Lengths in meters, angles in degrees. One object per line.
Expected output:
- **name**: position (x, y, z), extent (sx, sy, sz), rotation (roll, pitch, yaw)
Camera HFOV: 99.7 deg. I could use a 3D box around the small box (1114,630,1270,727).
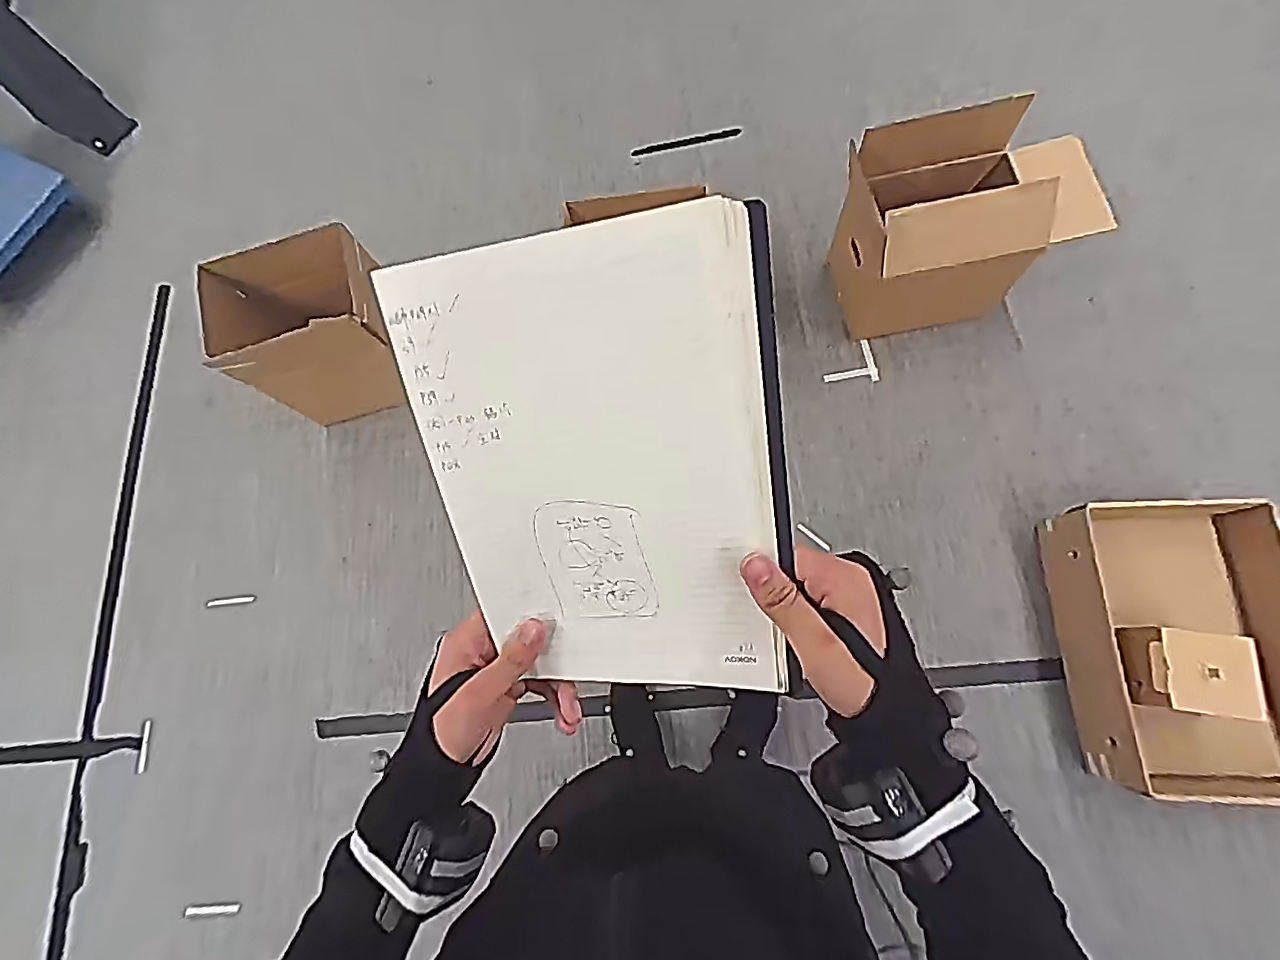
- **small box**: position (1.181, 0.425, 1.177), extent (0.179, 0.176, 0.168), rotation (6, 75, 9)
